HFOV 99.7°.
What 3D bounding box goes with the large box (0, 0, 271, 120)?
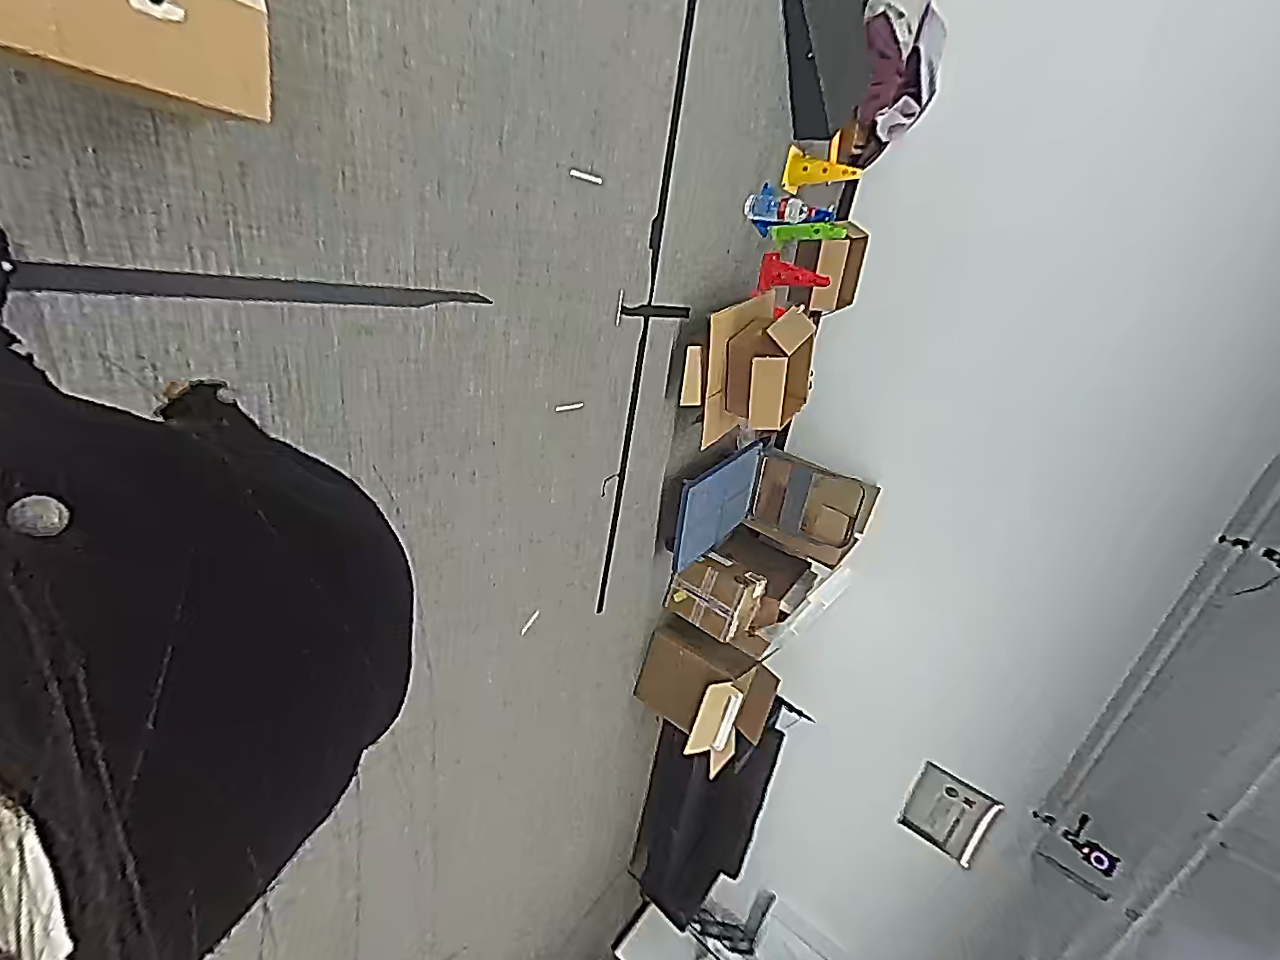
[{"bbox_3d":[-0.807,-0.733,0.742,0.408,0.320,0.320,-18,125,-52],"label":"large box"}]
